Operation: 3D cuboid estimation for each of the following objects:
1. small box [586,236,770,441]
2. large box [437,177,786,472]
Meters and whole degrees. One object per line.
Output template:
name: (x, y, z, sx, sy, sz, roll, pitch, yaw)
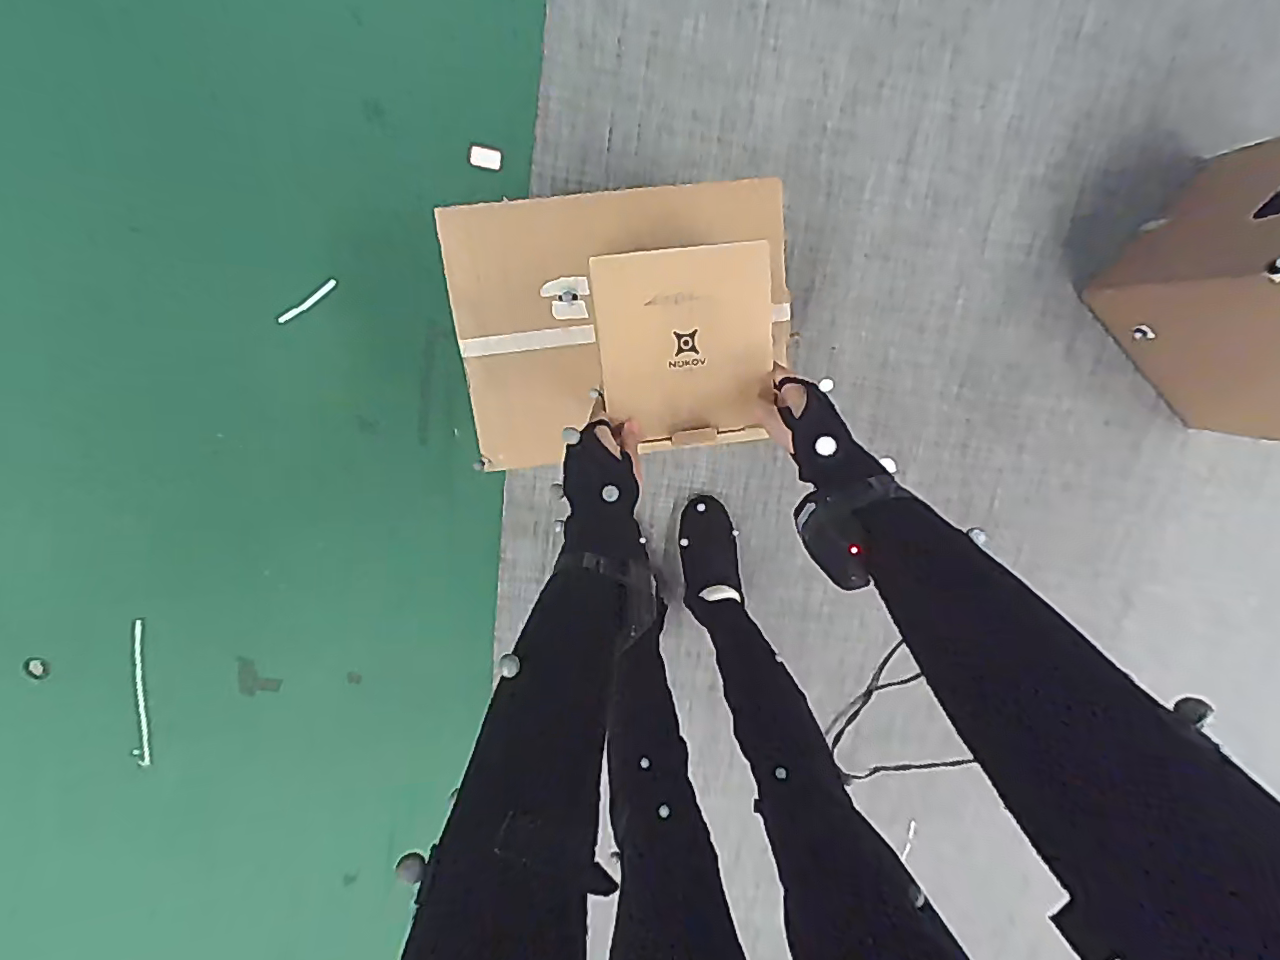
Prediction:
small box: (0.034, -0.151, 0.580, 0.168, 0.176, 0.179, -7, 107, -4)
large box: (-0.030, -0.222, 0.810, 0.408, 0.320, 0.320, -7, 104, -2)
